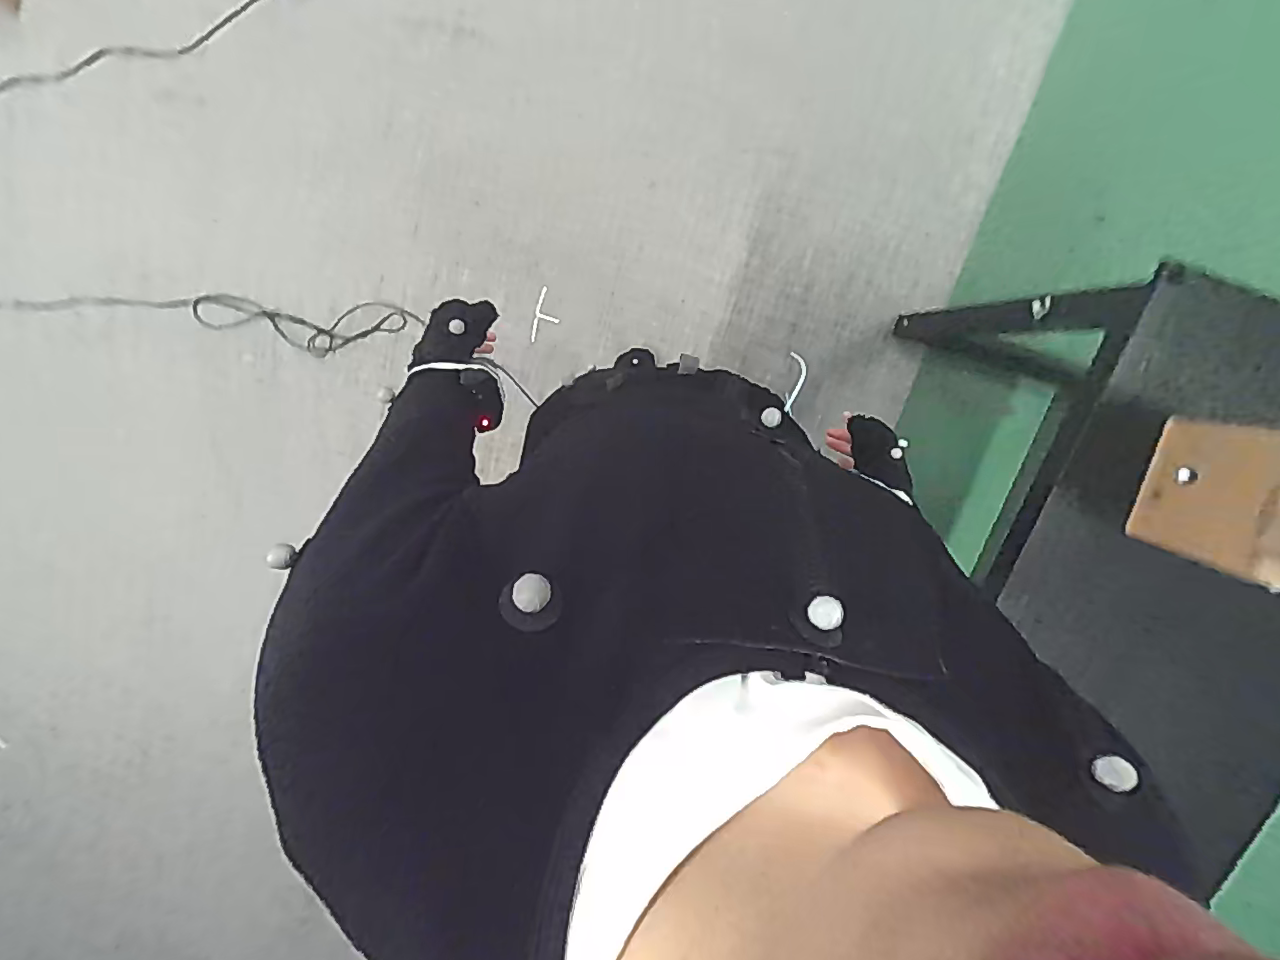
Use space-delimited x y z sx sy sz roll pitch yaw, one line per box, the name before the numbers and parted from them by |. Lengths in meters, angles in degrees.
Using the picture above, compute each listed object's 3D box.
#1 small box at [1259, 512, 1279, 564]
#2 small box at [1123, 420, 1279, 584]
small box | 0.782 0.063 0.512 0.179 0.176 0.168 29 102 -8
small box | 0.778 0.026 0.673 0.179 0.176 0.168 8 104 -2
